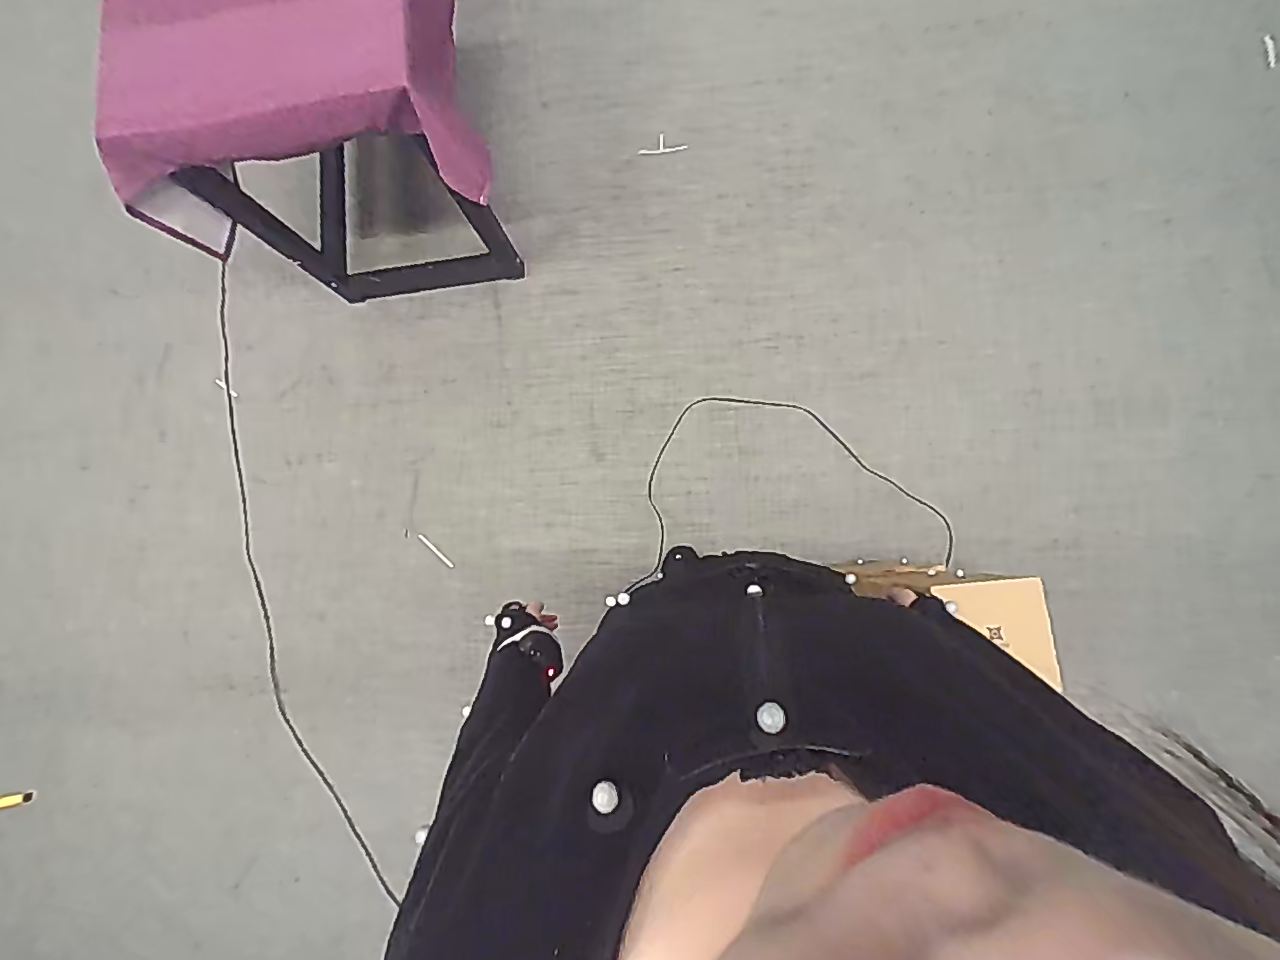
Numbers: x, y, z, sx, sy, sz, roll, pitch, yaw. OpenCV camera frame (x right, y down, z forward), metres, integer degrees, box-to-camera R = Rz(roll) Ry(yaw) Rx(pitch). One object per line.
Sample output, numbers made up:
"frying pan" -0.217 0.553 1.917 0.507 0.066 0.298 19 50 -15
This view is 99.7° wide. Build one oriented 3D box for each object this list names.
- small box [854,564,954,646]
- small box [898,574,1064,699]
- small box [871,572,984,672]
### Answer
"small box" 0.596 0.282 1.214 0.168 0.176 0.179 -7 83 5
"small box" 0.545 0.247 0.892 0.168 0.176 0.179 -5 82 6
"small box" 0.566 0.270 1.054 0.179 0.176 0.168 -6 82 5
